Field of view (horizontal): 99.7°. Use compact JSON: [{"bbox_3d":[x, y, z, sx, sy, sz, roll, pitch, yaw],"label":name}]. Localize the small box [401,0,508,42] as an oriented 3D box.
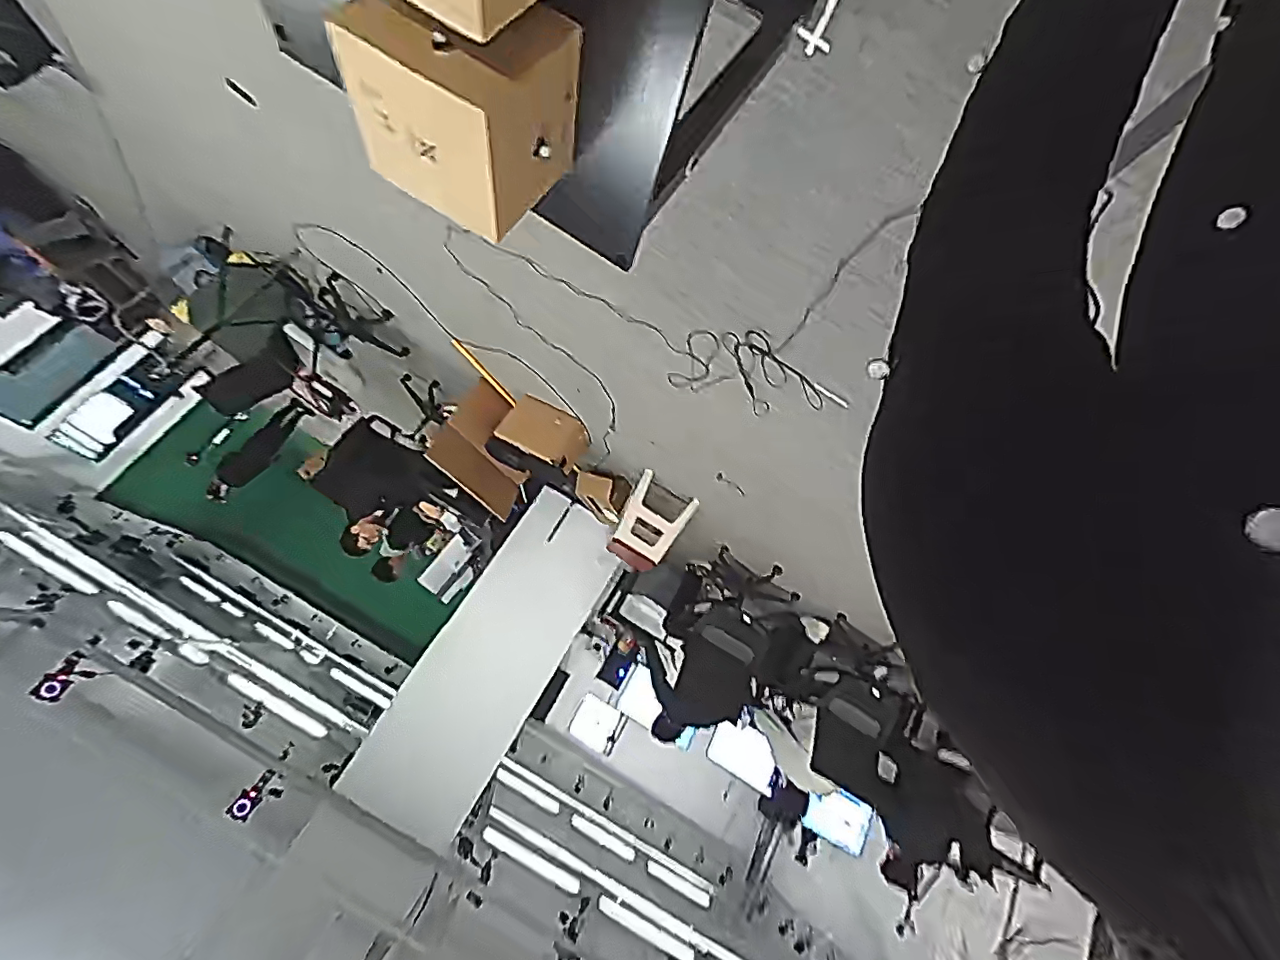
[{"bbox_3d":[-0.145,-0.481,0.385,0.179,0.176,0.168,31,159,-1],"label":"small box"}]
